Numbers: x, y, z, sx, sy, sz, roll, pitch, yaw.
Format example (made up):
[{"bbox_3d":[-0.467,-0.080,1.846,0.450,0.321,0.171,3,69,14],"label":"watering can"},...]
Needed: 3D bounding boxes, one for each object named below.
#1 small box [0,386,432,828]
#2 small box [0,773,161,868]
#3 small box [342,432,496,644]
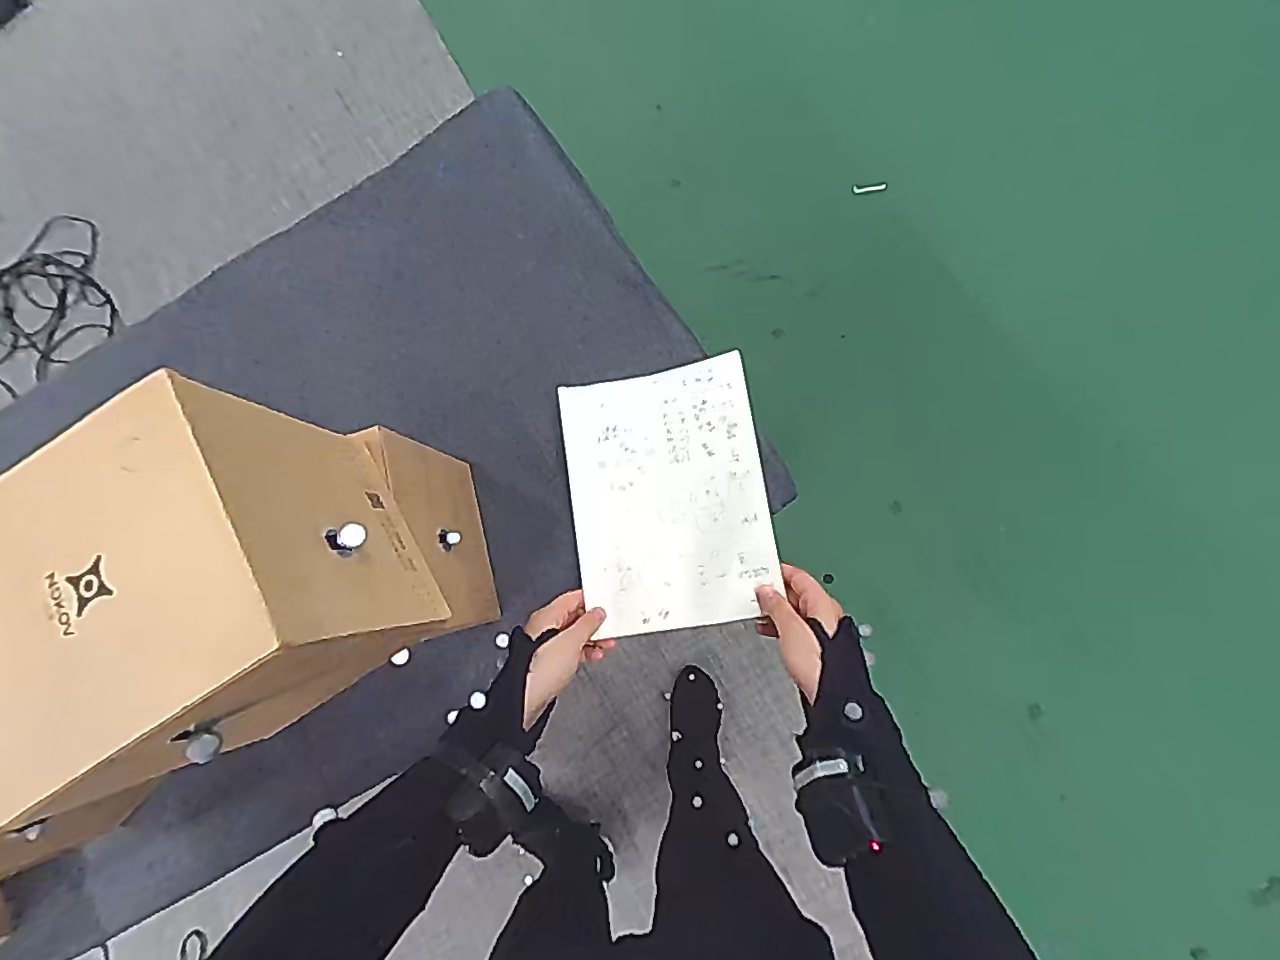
[{"bbox_3d":[-0.267,0.070,0.356,0.179,0.176,0.168,-33,78,3],"label":"small box"},{"bbox_3d":[-0.586,0.252,0.540,0.168,0.176,0.179,41,89,10],"label":"small box"},{"bbox_3d":[-0.259,0.074,0.520,0.168,0.176,0.179,-17,80,6],"label":"small box"}]
